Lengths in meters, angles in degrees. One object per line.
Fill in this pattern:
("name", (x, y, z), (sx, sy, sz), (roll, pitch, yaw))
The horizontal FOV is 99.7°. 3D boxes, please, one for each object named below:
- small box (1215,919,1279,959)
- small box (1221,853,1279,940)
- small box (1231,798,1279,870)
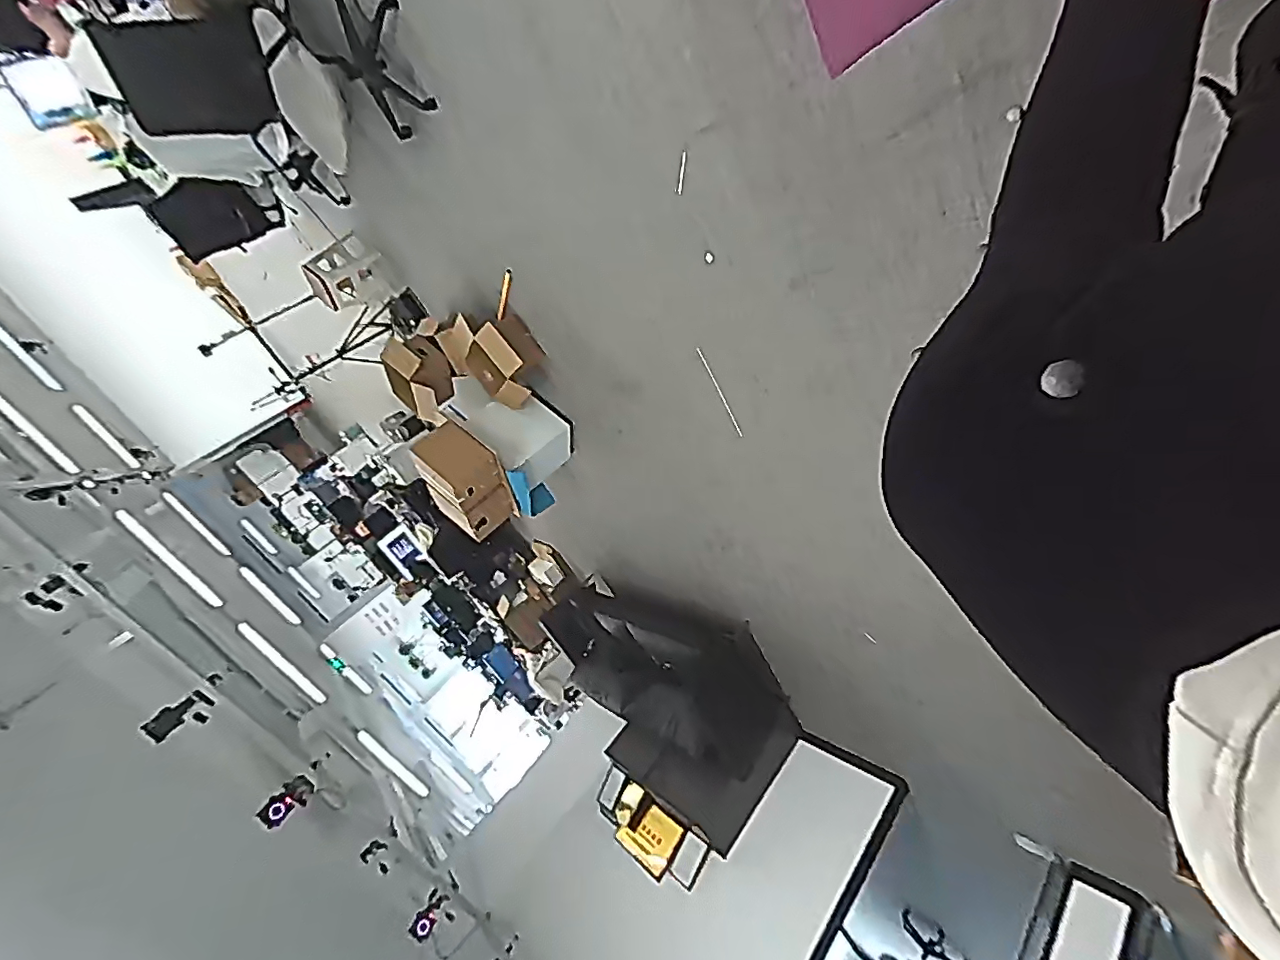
("small box", (1.446, 1.169, 1.236), (0.168, 0.176, 0.179), (16, 137, 45))
("small box", (1.548, 1.067, 1.315), (0.168, 0.176, 0.179), (5, 130, 52))
("small box", (1.655, 0.973, 1.391), (0.168, 0.176, 0.179), (5, 131, 51))
